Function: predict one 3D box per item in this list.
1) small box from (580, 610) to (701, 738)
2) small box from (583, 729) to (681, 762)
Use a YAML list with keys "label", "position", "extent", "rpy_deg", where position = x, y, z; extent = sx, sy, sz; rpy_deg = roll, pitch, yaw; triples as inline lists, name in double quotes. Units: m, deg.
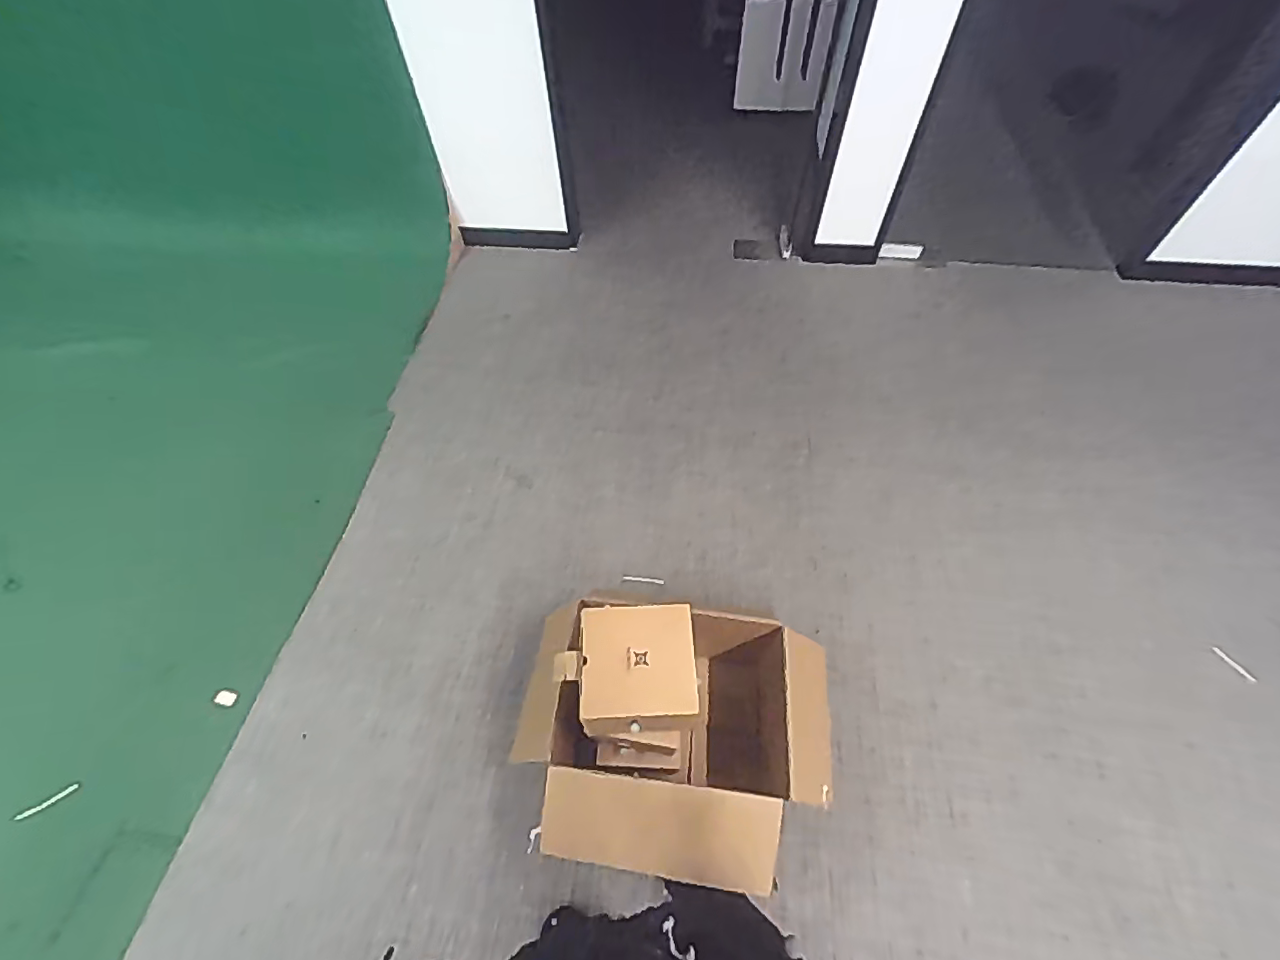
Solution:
- label: "small box"
  position: [-0.003, 0.319, 0.881]
  extent: [0.179, 0.176, 0.168]
  rpy_deg: [-2, 58, -1]
- label: "small box"
  position: [-0.005, 0.413, 1.014]
  extent: [0.168, 0.176, 0.179]
  rpy_deg: [9, 59, 4]
